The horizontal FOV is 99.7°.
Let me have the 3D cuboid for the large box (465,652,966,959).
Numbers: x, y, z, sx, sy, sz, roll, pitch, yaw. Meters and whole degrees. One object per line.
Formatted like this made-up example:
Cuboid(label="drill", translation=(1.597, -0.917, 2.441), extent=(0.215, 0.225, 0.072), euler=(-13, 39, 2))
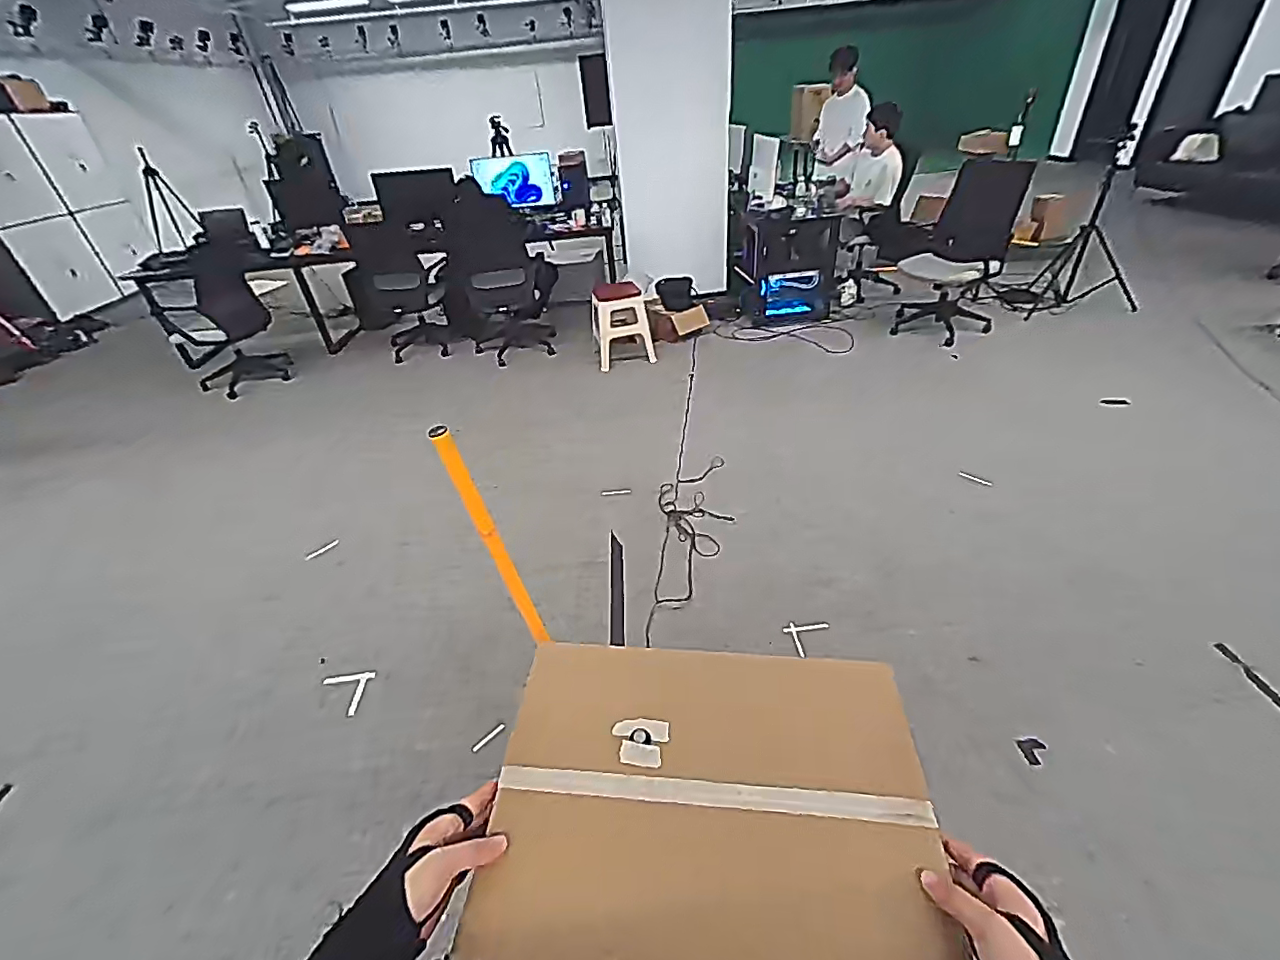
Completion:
Cuboid(label="large box", translation=(0.079, 0.420, 0.616), extent=(0.408, 0.320, 0.320), euler=(0, 39, 7))
